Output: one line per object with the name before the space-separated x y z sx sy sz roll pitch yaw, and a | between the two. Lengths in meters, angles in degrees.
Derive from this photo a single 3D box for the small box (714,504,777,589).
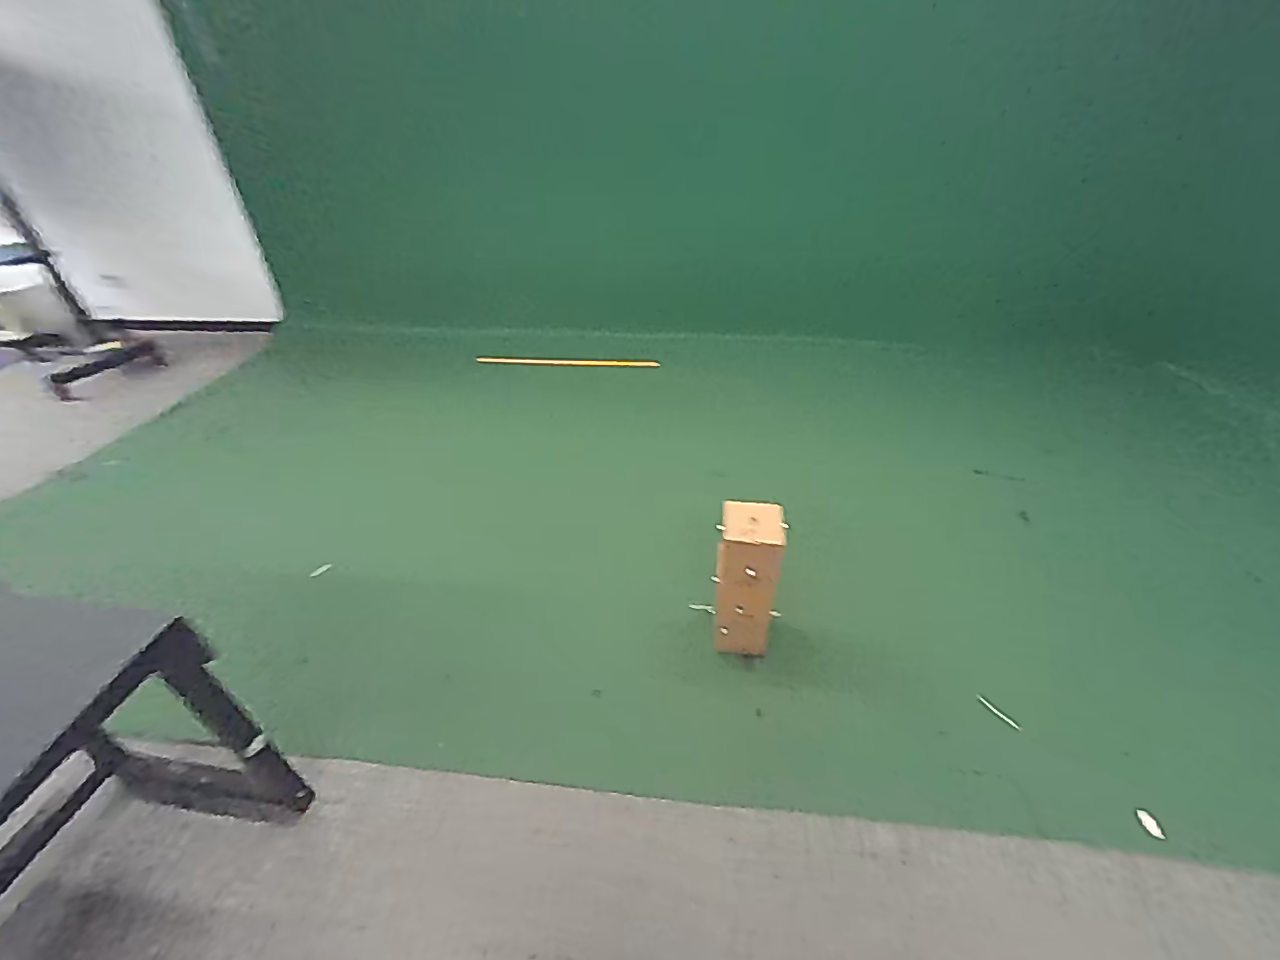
small box | 0.309 0.196 1.608 0.168 0.176 0.179 4 36 6

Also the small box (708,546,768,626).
small box | 0.302 0.332 1.701 0.168 0.176 0.179 4 36 5
